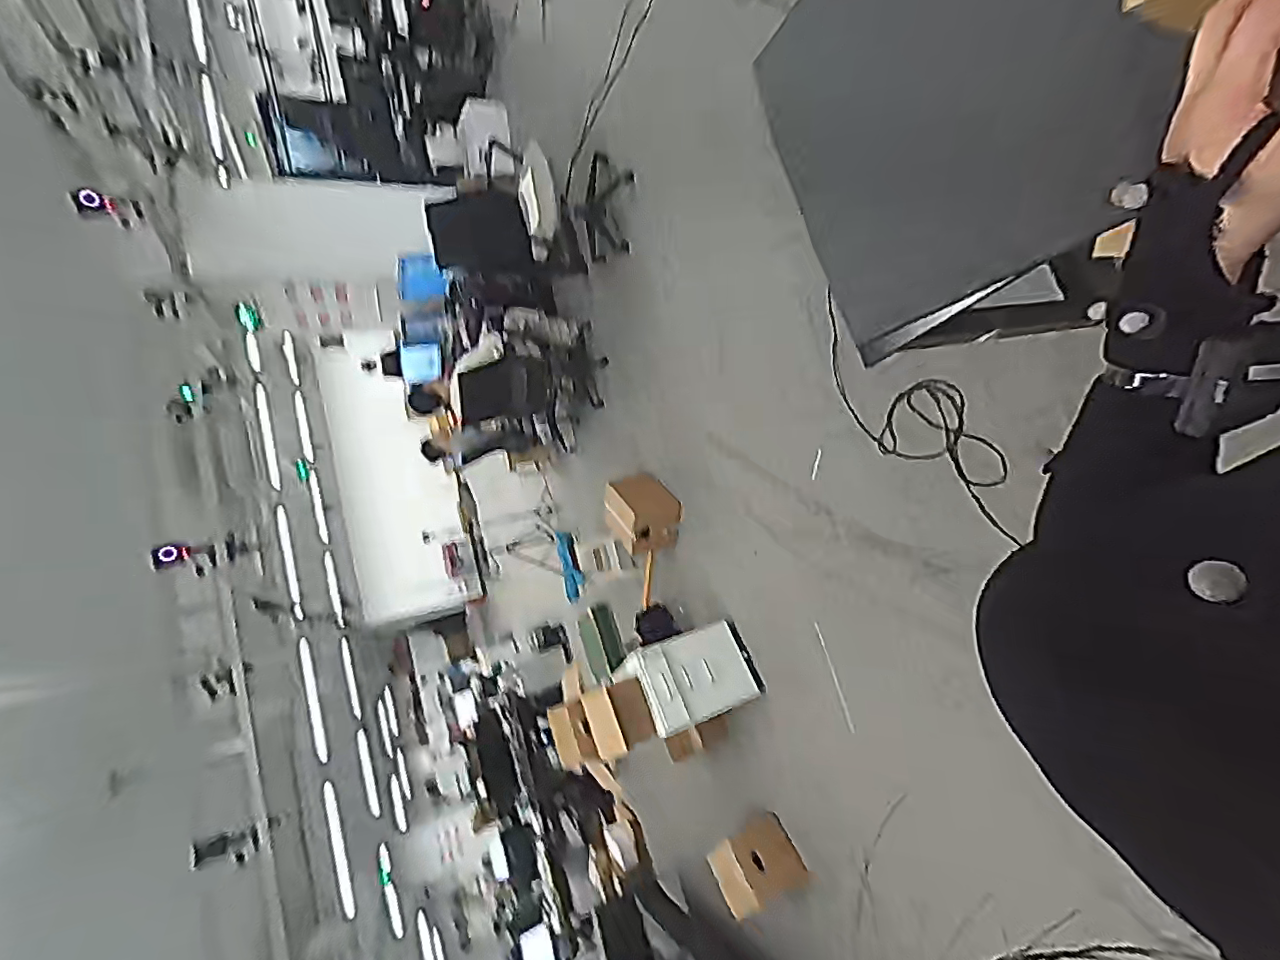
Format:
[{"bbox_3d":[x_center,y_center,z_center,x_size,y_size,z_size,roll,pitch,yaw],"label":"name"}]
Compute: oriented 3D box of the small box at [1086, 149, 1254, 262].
[{"bbox_3d":[1.022,-0.522,1.046,0.168,0.176,0.179,33,129,57],"label":"small box"}]
